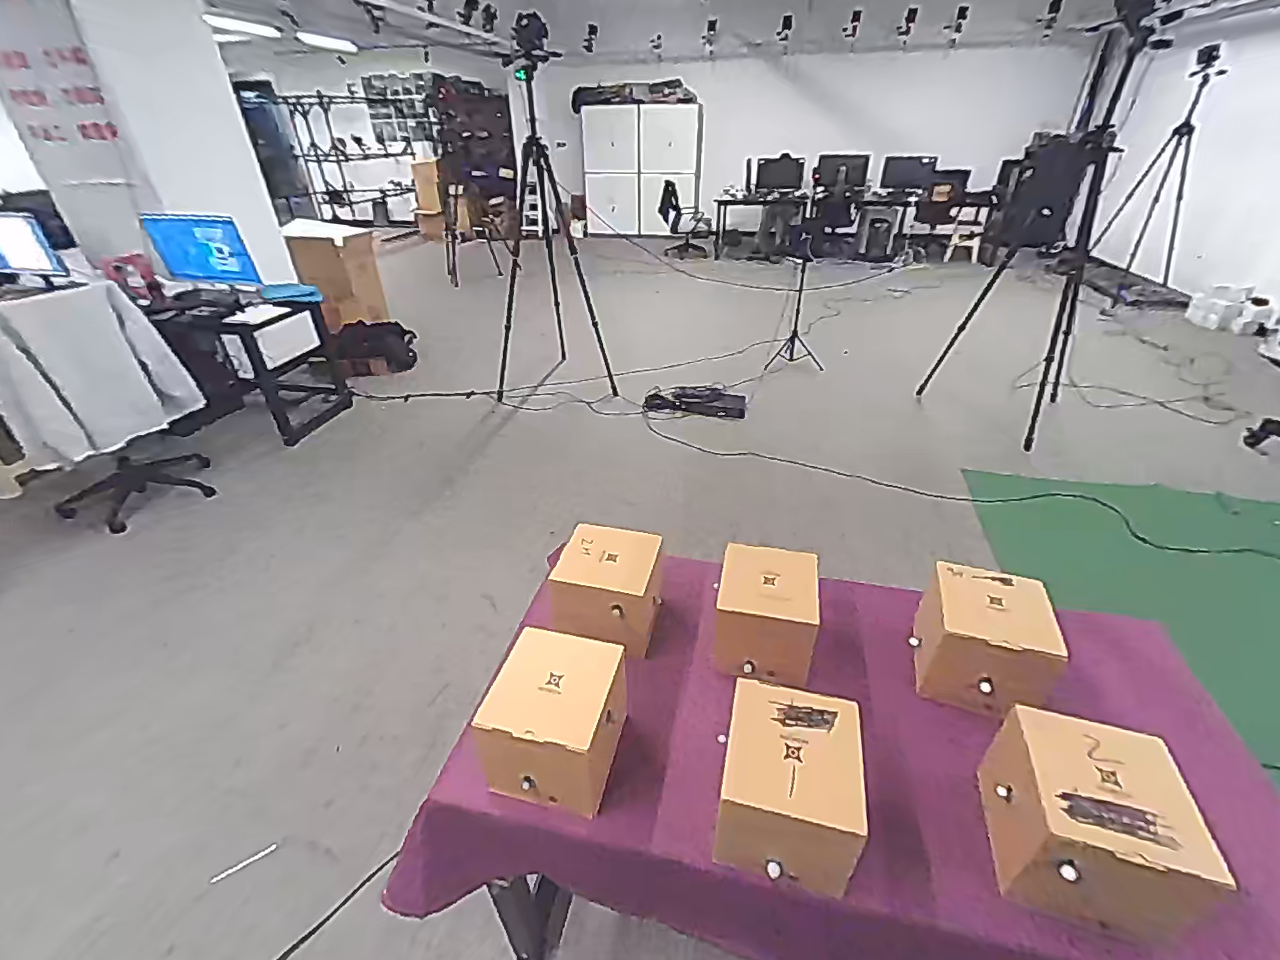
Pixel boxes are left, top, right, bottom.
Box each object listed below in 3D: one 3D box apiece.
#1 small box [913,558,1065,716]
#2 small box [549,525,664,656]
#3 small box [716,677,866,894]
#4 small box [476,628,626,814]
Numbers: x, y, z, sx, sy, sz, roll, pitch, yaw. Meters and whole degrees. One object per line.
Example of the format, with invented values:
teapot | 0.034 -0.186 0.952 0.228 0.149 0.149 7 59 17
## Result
small box | 0.576 0.265 0.919 0.168 0.176 0.179 10 36 17
small box | -0.056 0.211 1.036 0.179 0.176 0.168 7 34 13
small box | 0.196 0.403 0.726 0.168 0.176 0.179 7 34 14
small box | -0.122 0.357 0.816 0.168 0.176 0.179 7 34 13
